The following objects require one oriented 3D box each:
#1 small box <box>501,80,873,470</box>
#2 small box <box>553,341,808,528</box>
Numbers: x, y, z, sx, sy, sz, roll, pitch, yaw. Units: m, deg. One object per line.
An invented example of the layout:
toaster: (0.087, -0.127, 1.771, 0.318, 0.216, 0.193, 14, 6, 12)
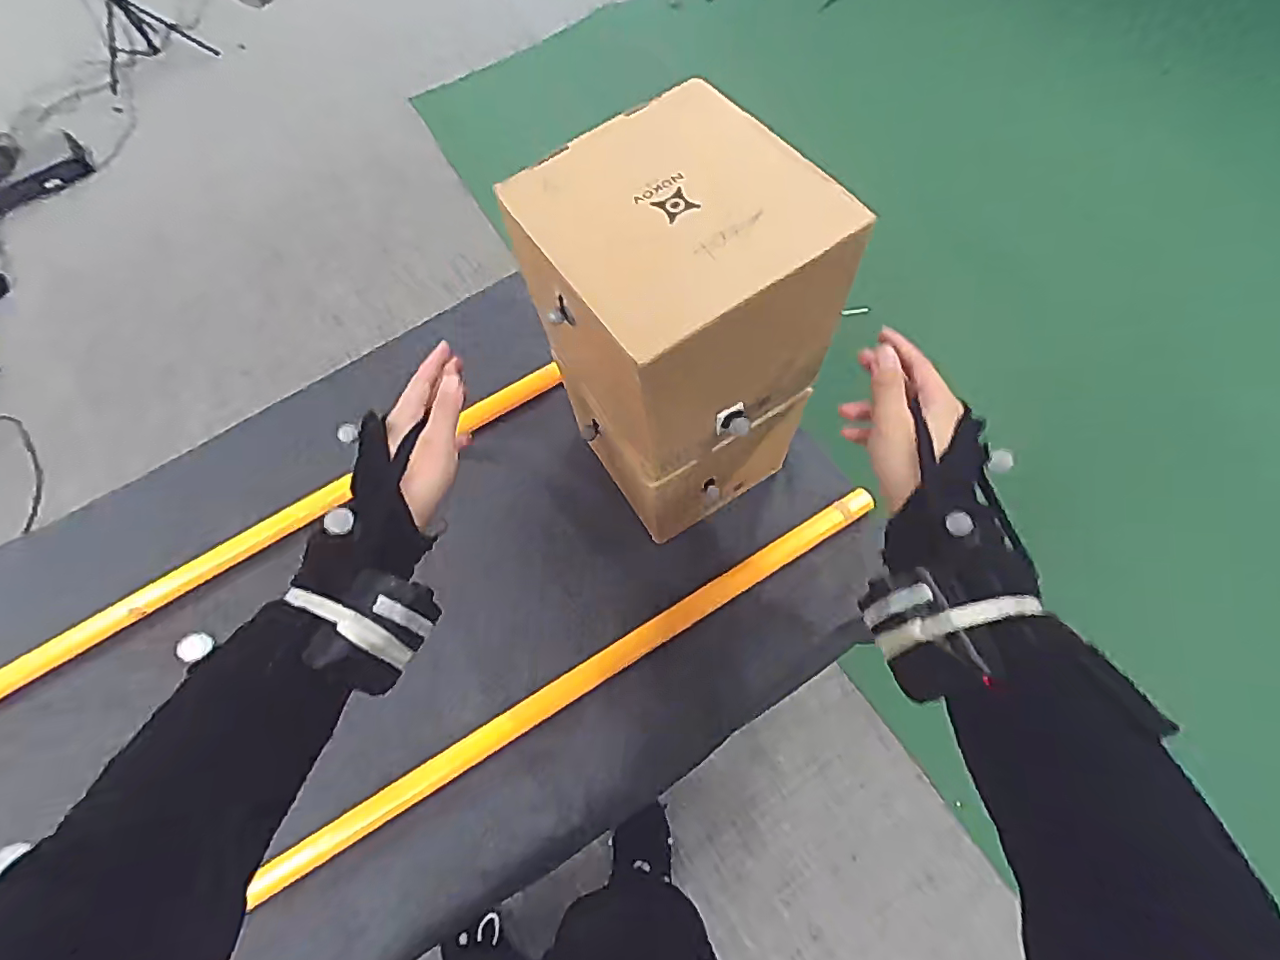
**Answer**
small box: (0.028, -0.138, 0.402, 0.168, 0.176, 0.179, -34, 68, -8)
small box: (0.039, -0.069, 0.550, 0.168, 0.176, 0.179, -32, 67, -8)
